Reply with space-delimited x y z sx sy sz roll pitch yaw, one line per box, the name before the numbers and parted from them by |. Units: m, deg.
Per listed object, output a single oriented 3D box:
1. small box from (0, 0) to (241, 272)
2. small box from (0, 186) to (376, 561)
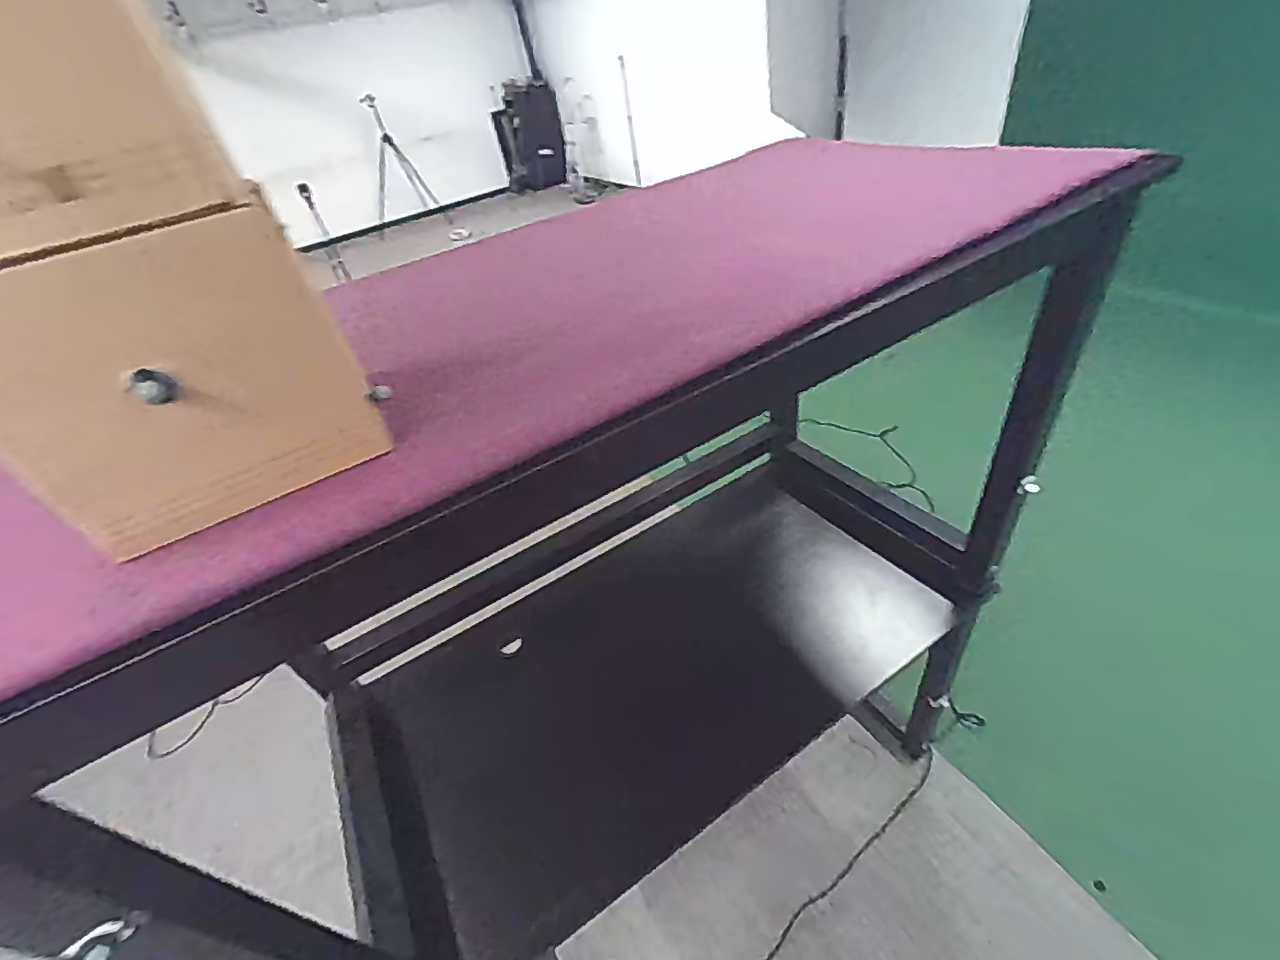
small box | -0.340 -0.208 0.275 0.168 0.176 0.179 -27 40 -18
small box | -0.303 -0.080 0.369 0.179 0.176 0.168 -28 40 -17
